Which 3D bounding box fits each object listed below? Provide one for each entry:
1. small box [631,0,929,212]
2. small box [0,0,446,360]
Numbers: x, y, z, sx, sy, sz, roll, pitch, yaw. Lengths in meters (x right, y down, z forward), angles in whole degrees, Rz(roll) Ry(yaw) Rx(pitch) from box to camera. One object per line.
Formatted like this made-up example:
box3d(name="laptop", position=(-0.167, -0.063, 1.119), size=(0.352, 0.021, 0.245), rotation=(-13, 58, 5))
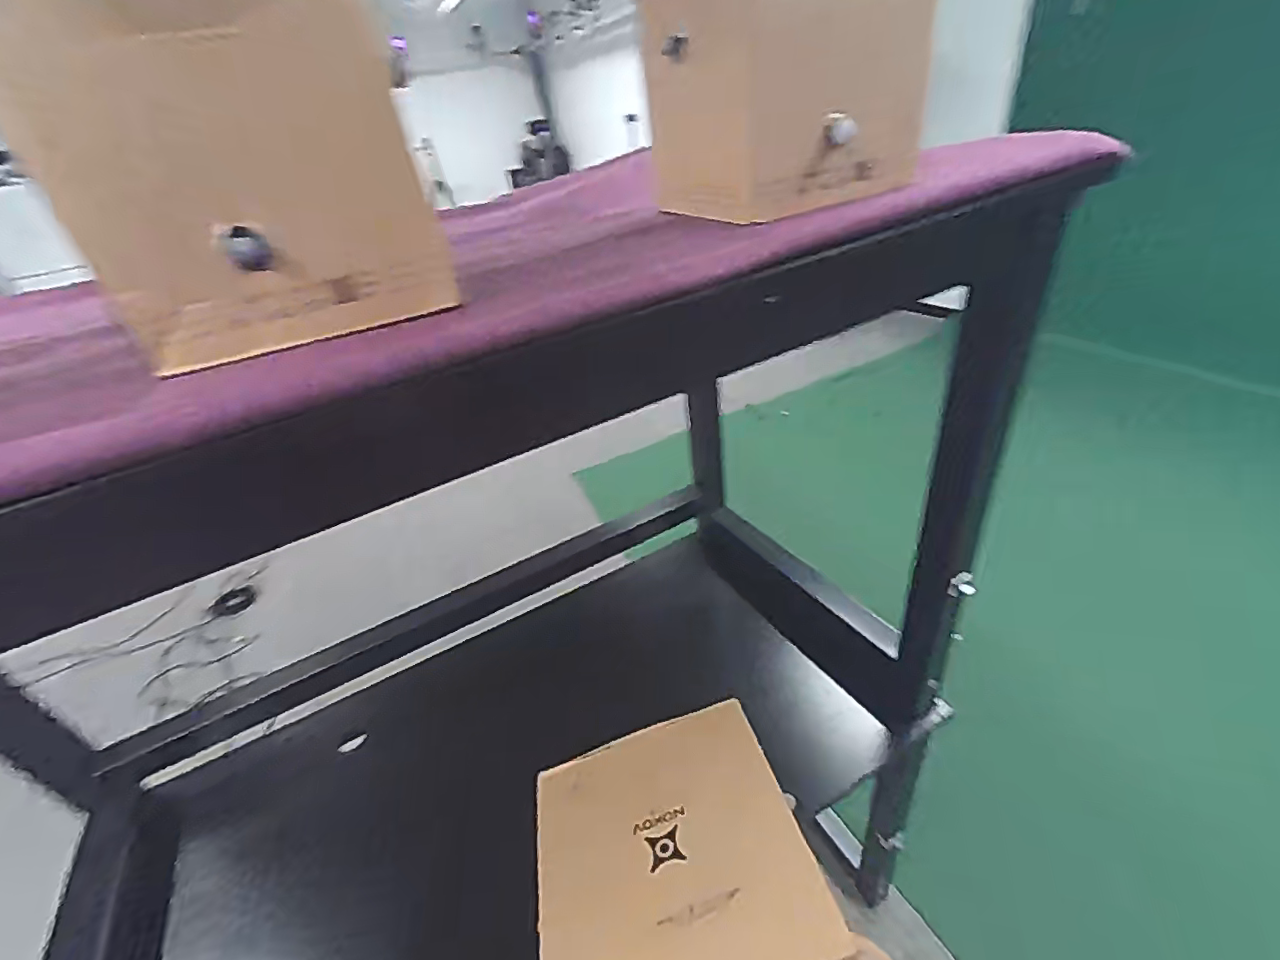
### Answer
box3d(name="small box", position=(0.105, -0.332, 0.450), size=(0.168, 0.176, 0.179), rotation=(-21, 36, -14))
box3d(name="small box", position=(-0.235, -0.189, 0.334), size=(0.168, 0.176, 0.179), rotation=(-21, 35, -15))
